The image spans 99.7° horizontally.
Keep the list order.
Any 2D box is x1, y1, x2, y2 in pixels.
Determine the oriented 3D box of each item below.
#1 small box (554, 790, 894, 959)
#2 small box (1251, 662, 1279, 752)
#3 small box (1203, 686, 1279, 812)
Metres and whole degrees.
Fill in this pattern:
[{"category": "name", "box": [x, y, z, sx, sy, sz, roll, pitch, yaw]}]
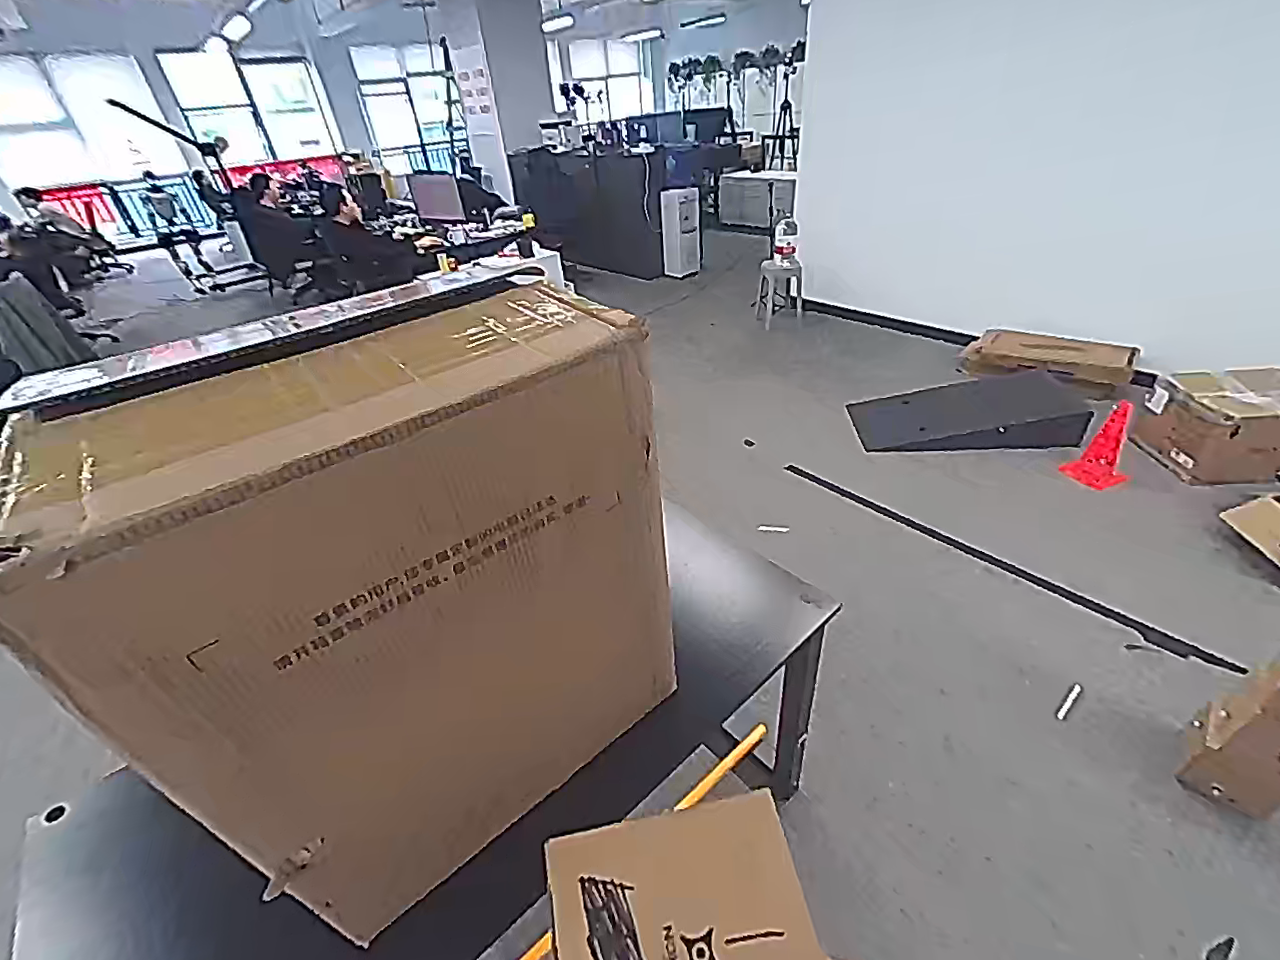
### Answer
[{"category": "small box", "box": [0.051, 0.320, 0.336, 0.179, 0.176, 0.168, -9, 49, -8]}, {"category": "small box", "box": [1.486, 0.513, 1.172, 0.168, 0.176, 0.179, 24, 46, 36]}, {"category": "small box", "box": [1.488, 0.638, 1.279, 0.168, 0.176, 0.179, 25, 47, 37]}]
